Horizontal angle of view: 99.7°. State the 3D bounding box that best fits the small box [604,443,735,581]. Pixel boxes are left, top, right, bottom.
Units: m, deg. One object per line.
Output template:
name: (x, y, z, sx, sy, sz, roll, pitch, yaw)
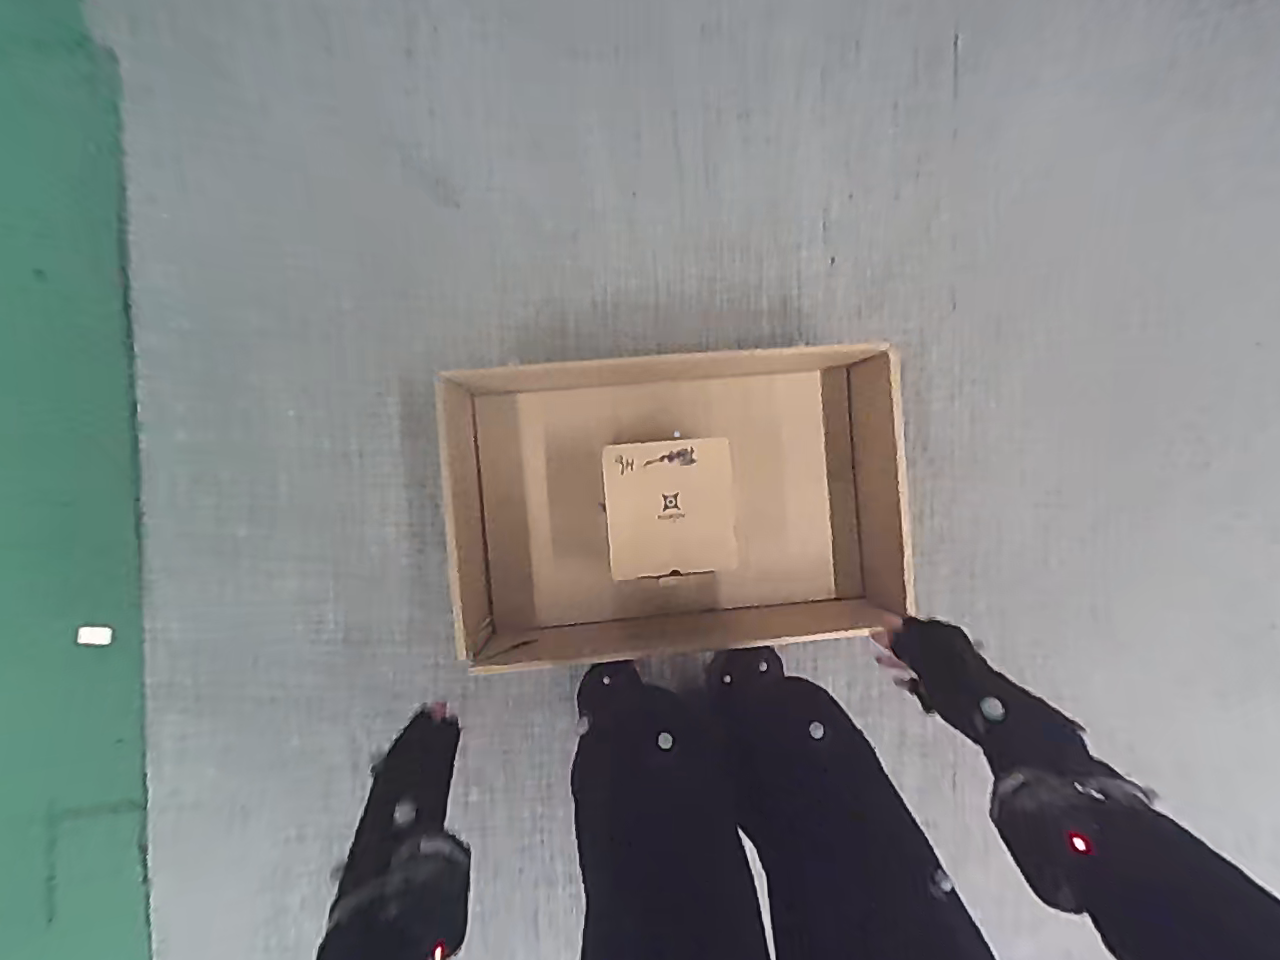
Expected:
small box: (0.038, 0.038, 0.784, 0.168, 0.176, 0.179, -4, 92, -3)
